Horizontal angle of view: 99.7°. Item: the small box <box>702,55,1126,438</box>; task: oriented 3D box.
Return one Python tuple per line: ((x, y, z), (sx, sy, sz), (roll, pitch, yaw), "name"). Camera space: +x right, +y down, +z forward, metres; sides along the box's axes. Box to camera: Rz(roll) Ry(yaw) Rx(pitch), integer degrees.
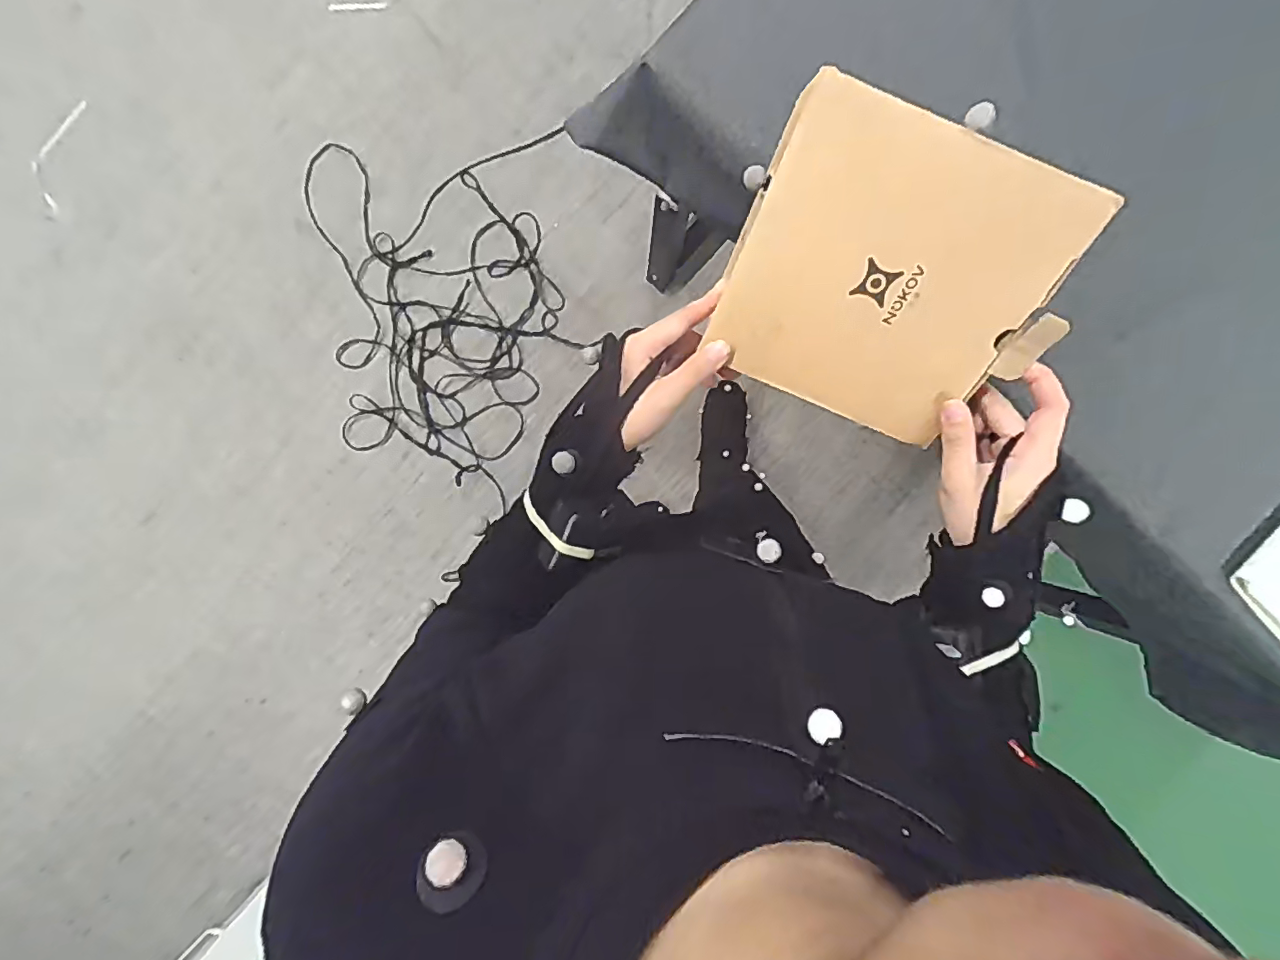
((0.160, -0.161, 0.387), (0.179, 0.176, 0.168), (21, 122, -2), "small box")
